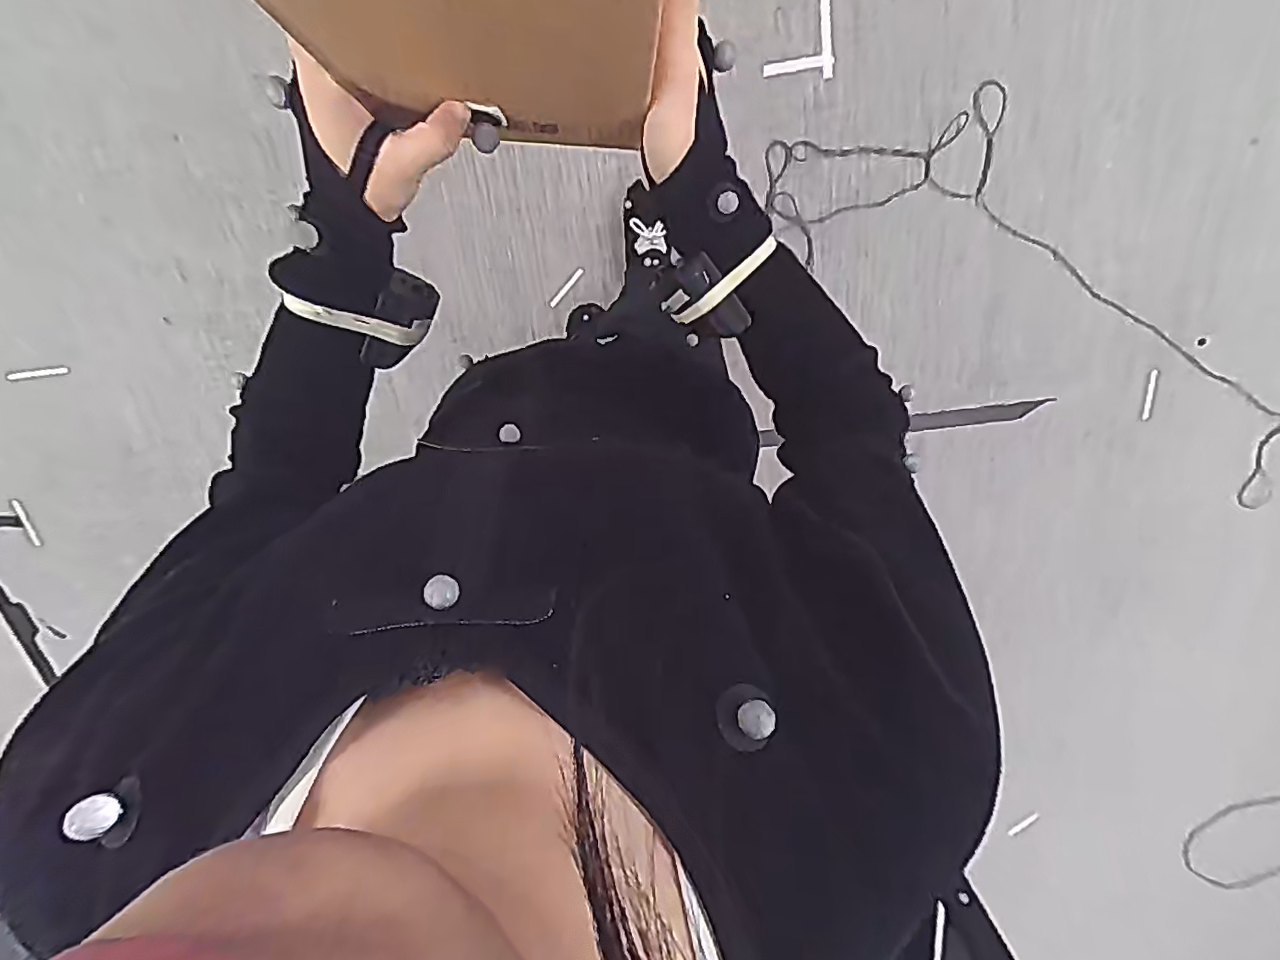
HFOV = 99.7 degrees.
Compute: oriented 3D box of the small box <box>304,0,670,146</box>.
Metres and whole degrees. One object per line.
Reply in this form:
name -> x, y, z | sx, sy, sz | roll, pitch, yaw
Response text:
small box -> -0.069, -0.287, 0.251 | 0.168, 0.176, 0.179 | 1, 103, -2
